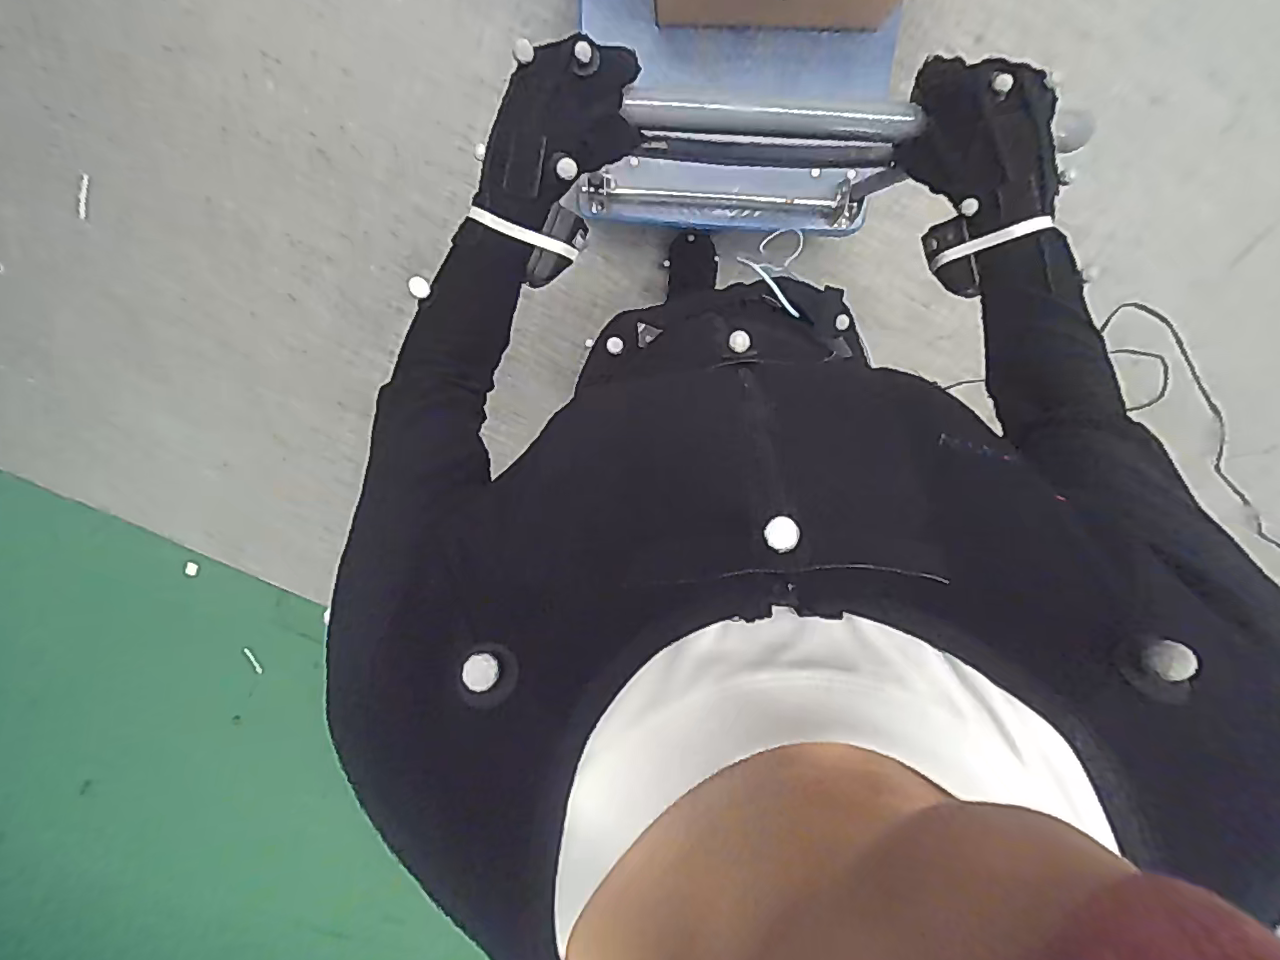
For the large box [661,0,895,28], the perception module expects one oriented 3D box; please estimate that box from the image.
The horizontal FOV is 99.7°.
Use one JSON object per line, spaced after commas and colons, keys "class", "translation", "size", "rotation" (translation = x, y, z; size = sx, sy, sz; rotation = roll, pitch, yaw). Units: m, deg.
{"class": "large box", "translation": [0.231, -0.924, 0.799], "size": [0.408, 0.320, 0.320], "rotation": [1, 108, 3]}
